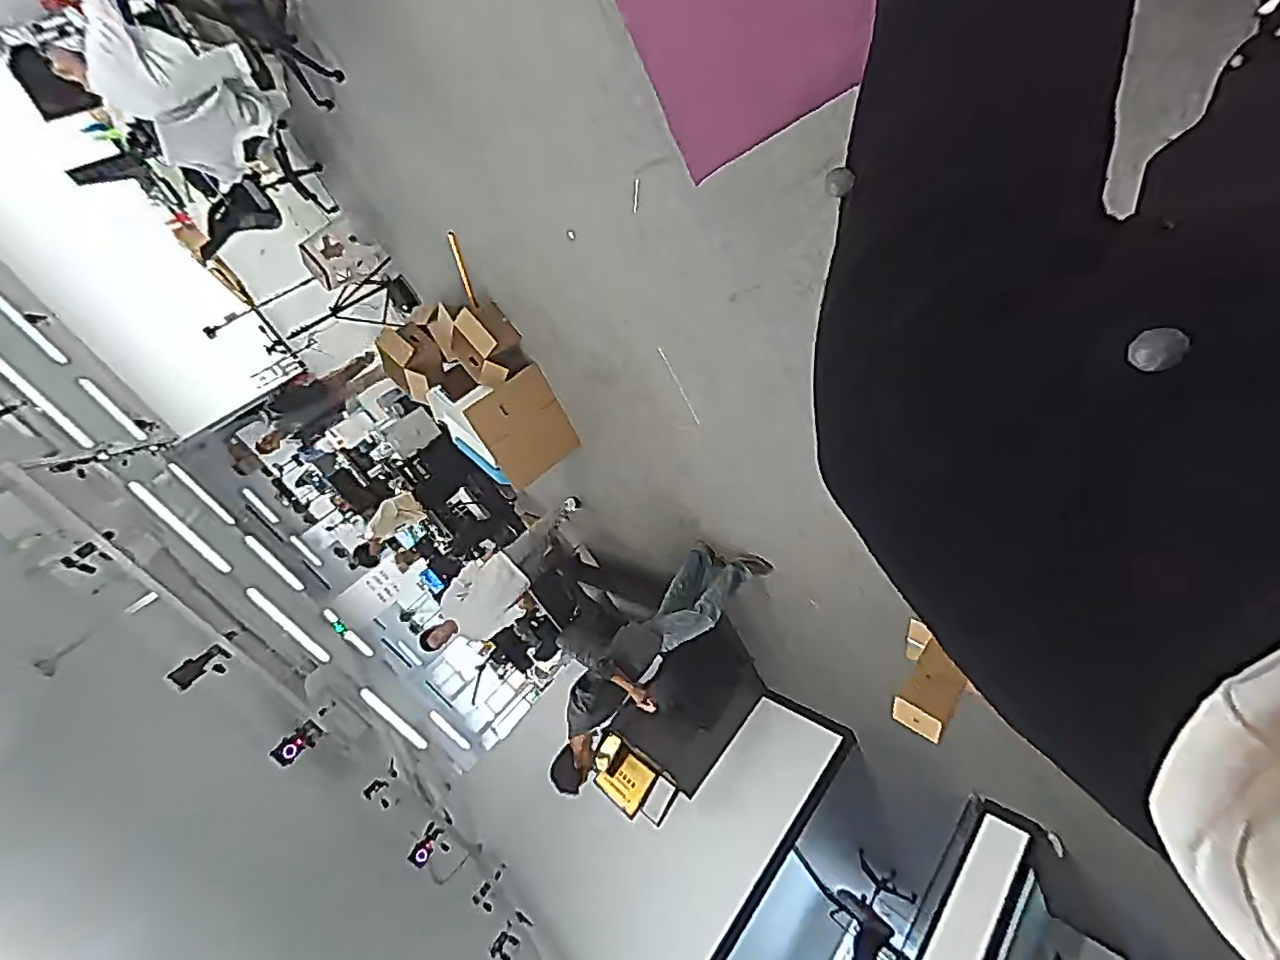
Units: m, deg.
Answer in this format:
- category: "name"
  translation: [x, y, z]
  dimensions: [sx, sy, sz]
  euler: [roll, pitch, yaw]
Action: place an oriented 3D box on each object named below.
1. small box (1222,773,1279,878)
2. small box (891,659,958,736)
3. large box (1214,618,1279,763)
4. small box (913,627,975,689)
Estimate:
- category: "small box"
  translation: [1.556, 0.829, 1.277]
  dimensions: [0.168, 0.176, 0.179]
  euler: [46, 155, 0]
- category: "small box"
  translation: [1.060, 0.805, 2.015]
  dimensions: [0.168, 0.176, 0.179]
  euler: [25, 147, 39]
- category: "large box"
  translation: [1.852, 0.556, 1.387]
  dimensions: [0.320, 0.320, 0.408]
  euler: [43, 154, 4]
- category: "small box"
  translation: [1.168, 0.709, 2.091]
  dimensions: [0.168, 0.176, 0.179]
  euler: [26, 146, 37]
